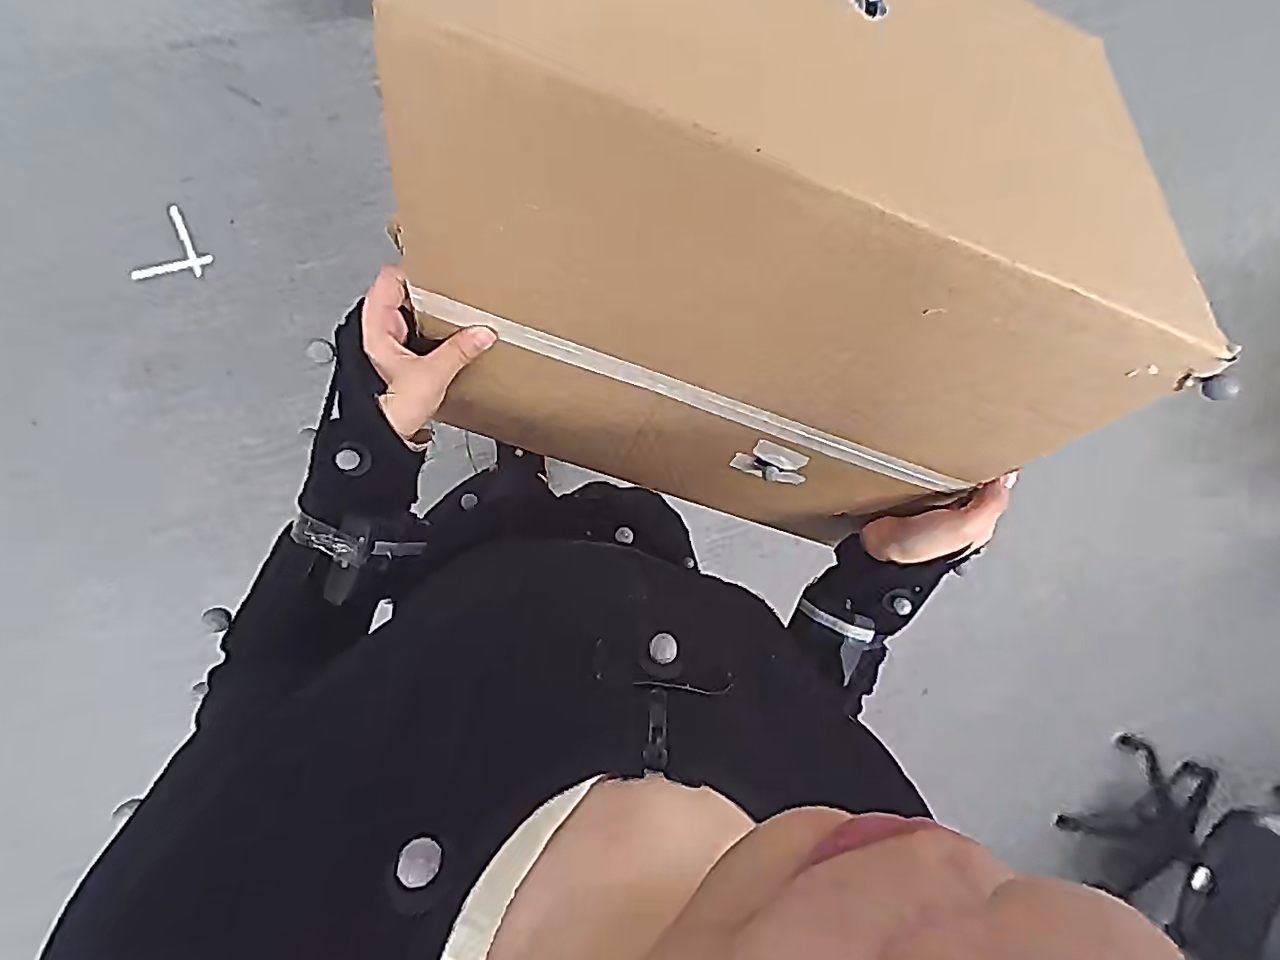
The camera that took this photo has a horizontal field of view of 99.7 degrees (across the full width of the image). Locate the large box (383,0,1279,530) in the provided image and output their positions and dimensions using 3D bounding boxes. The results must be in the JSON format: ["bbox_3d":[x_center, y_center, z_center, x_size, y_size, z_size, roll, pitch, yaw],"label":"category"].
[{"bbox_3d":[0.087,-0.199,0.405,0.408,0.320,0.320,16,63,-9],"label":"large box"}]
